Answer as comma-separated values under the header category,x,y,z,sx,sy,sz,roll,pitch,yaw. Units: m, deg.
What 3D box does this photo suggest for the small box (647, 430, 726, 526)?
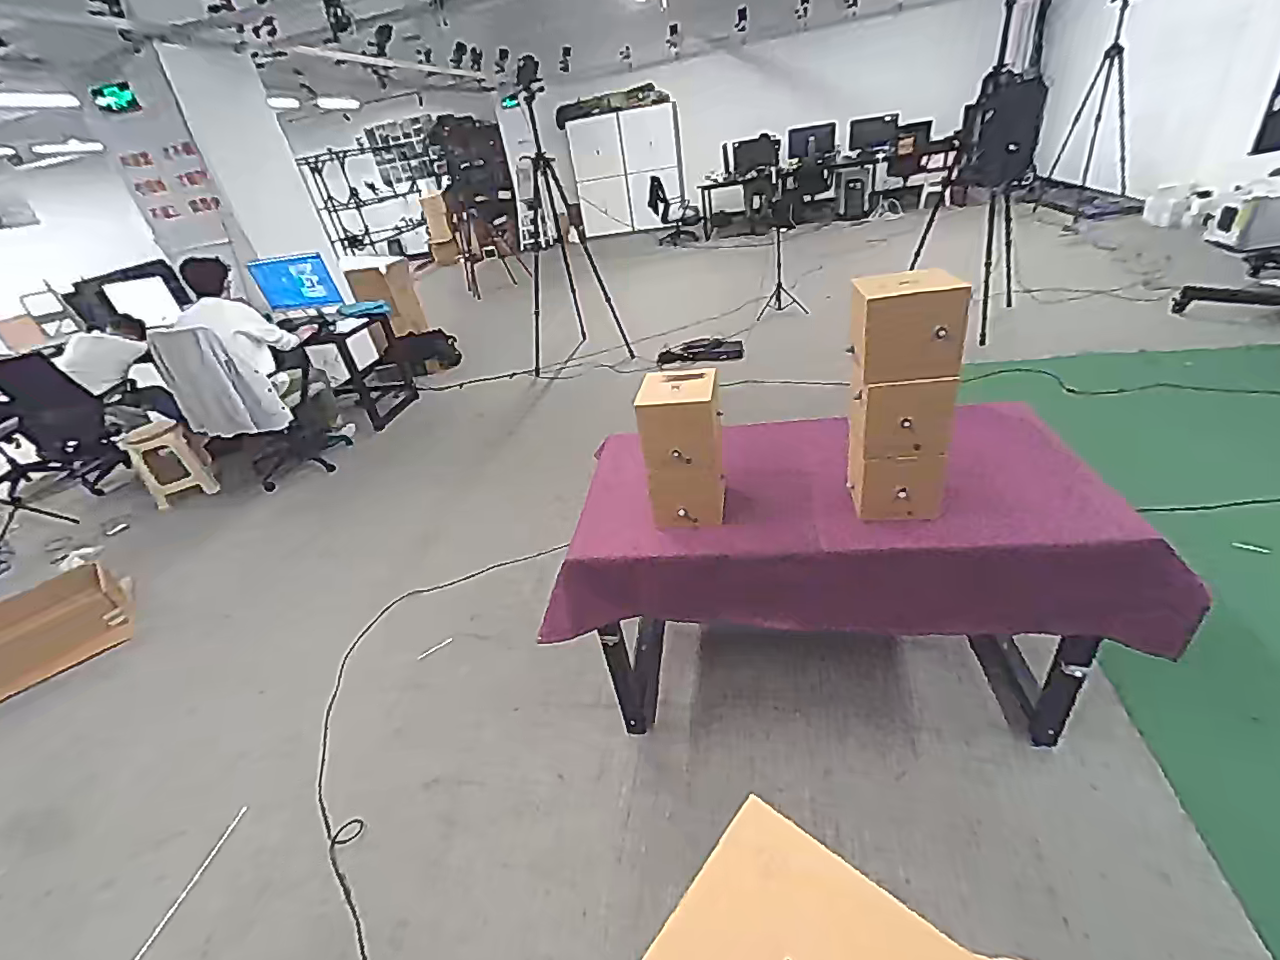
category,x,y,z,sx,sy,sz,roll,pitch,yaw
small box,0.120,-0.005,1.323,0.168,0.176,0.179,-2,34,13

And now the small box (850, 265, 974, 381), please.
category,x,y,z,sx,sy,sz,roll,pitch,yaw
small box,0.517,-0.305,1.057,0.179,0.176,0.168,-4,32,12

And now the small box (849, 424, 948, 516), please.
category,x,y,z,sx,sy,sz,roll,pitch,yaw
small box,0.576,-0.030,1.226,0.168,0.176,0.179,-3,34,12

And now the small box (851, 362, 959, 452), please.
category,x,y,z,sx,sy,sz,roll,pitch,yaw
small box,0.546,-0.167,1.139,0.168,0.176,0.179,-3,33,12
